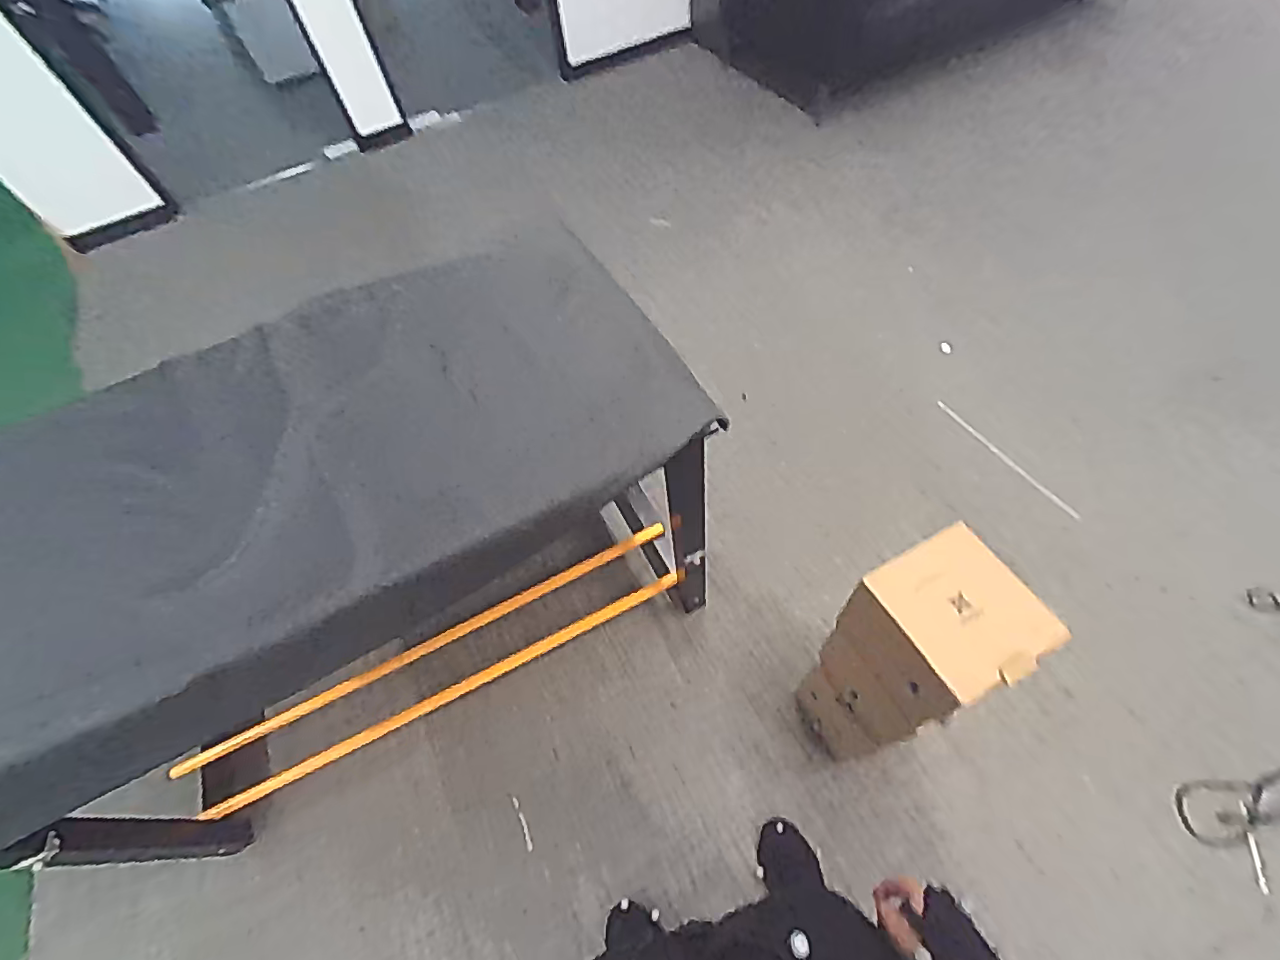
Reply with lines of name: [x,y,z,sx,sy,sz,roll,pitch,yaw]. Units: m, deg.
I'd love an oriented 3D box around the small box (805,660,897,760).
small box: [0.422,0.387,0.990,0.179,0.176,0.168,-27,58,-12]

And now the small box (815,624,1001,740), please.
small box: [0.408,0.291,0.857,0.168,0.176,0.179,-25,59,-11]

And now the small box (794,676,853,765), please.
small box: [0.447,0.469,1.131,0.179,0.176,0.168,-25,57,-10]

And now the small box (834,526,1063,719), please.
small box: [0.392,0.199,0.725,0.168,0.176,0.179,-26,57,-11]
